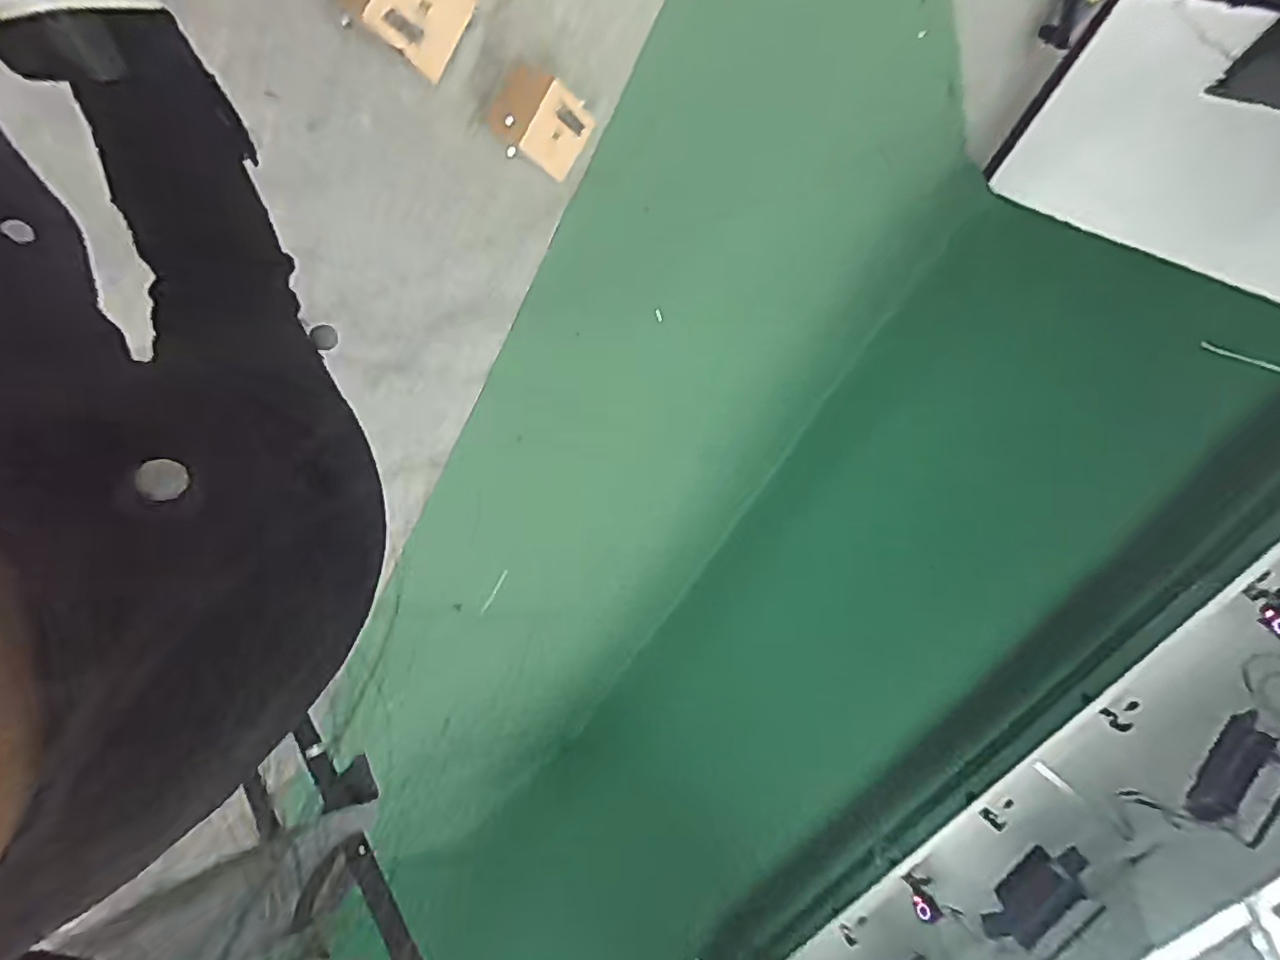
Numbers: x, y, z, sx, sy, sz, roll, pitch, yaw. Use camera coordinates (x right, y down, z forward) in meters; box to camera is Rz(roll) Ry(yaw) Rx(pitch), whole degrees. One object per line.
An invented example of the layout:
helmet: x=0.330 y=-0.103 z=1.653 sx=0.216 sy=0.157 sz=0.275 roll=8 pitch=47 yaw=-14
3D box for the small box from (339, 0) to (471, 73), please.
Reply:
small box: x=-0.461 y=-0.941 z=1.034 sx=0.179 sy=0.176 sz=0.168 roll=-55 pitch=153 yaw=13
